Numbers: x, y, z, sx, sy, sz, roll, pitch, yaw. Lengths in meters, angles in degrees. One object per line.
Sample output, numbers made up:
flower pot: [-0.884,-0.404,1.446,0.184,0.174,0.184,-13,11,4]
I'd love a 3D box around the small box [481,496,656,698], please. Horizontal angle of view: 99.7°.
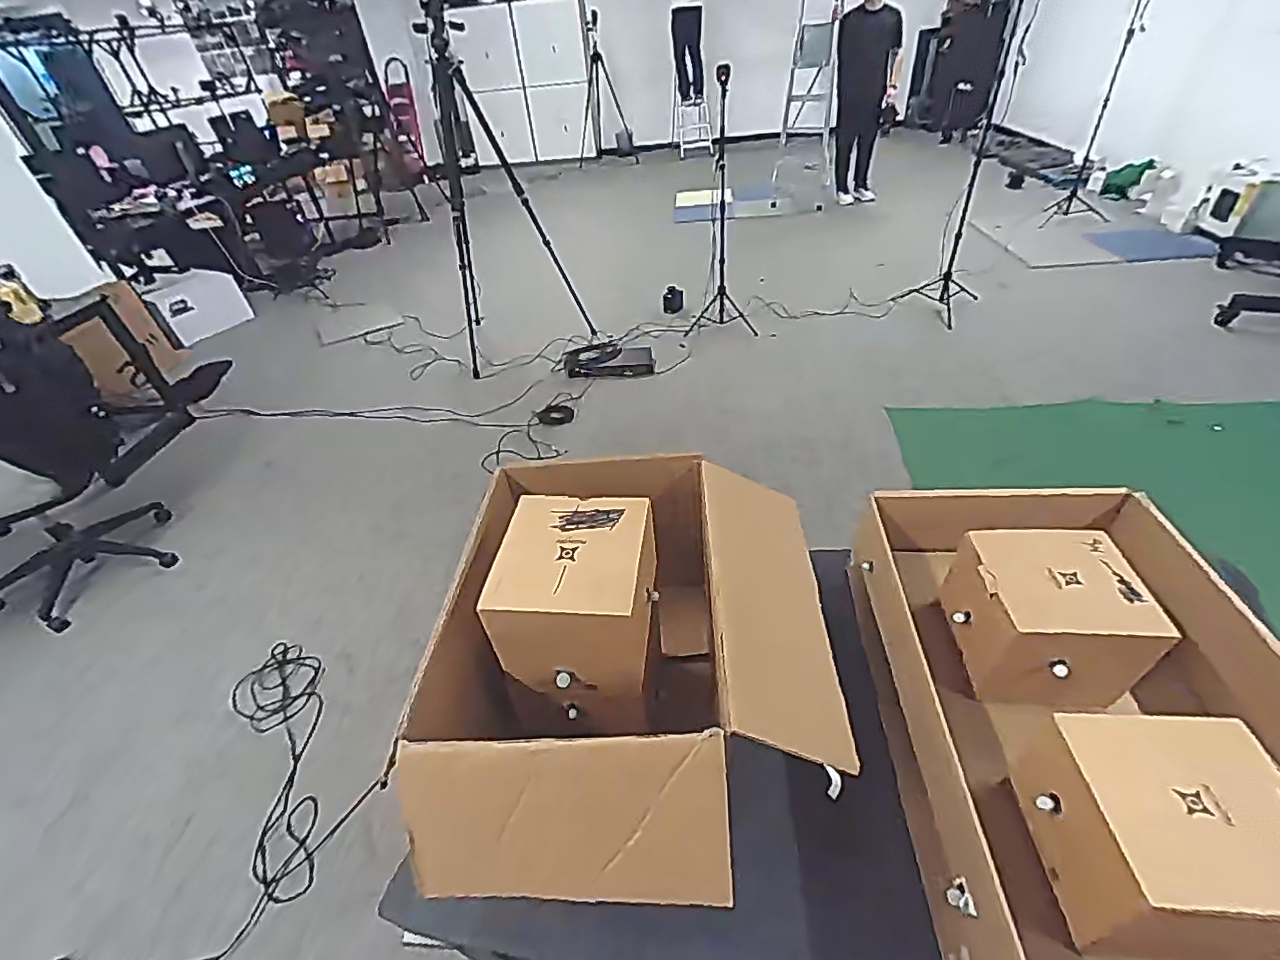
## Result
small box: [-0.071,0.140,0.664,0.168,0.176,0.179,1,43,8]
